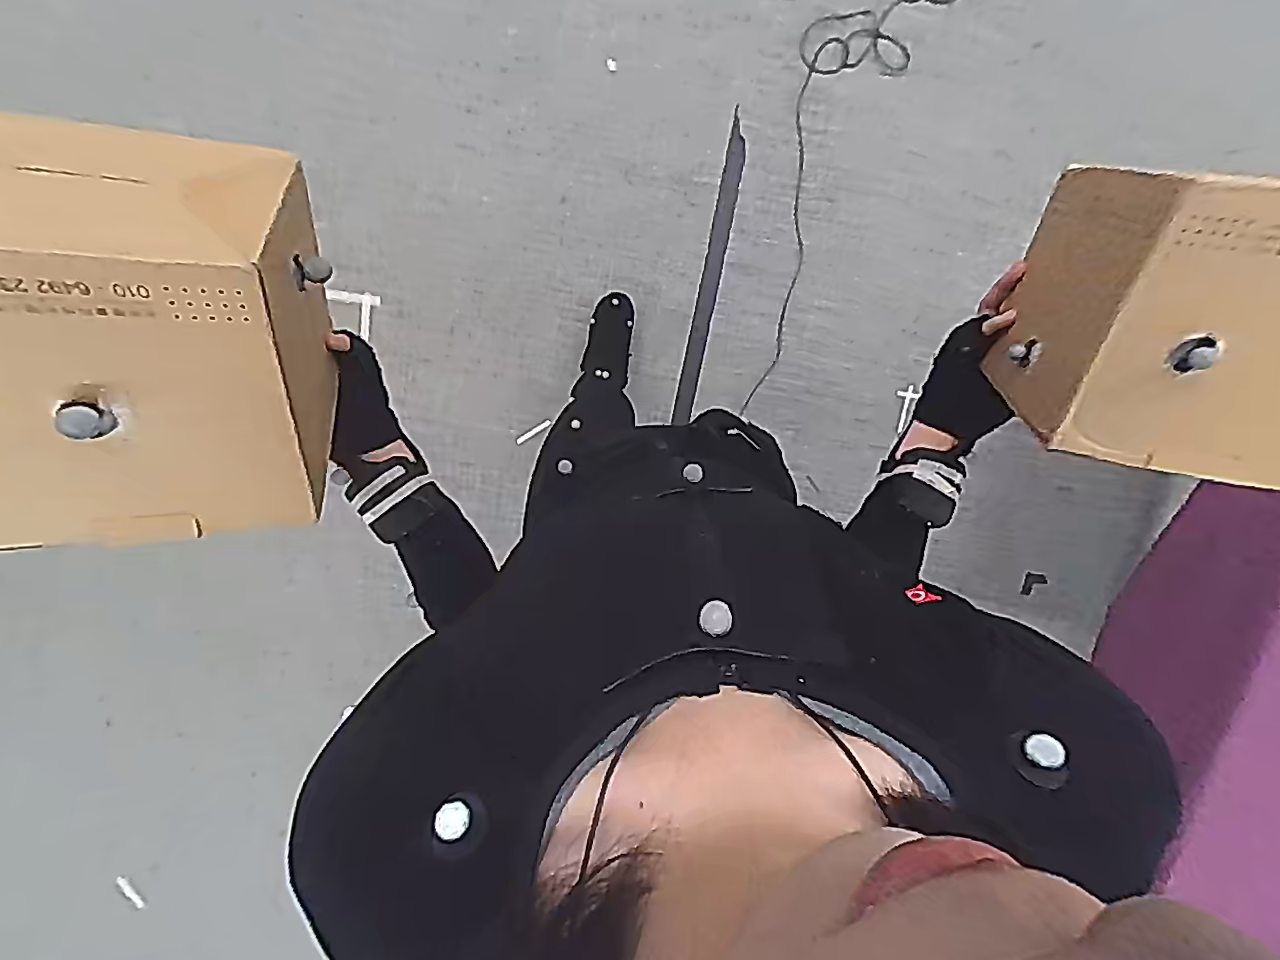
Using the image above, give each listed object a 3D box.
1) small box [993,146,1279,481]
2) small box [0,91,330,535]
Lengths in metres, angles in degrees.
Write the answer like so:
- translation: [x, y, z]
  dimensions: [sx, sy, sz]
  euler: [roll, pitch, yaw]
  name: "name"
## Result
- translation: [0.381, -0.118, 0.361]
  dimensions: [0.168, 0.179, 0.176]
  euler: [14, 124, 9]
  name: "small box"
- translation: [-0.279, -0.093, 0.295]
  dimensions: [0.168, 0.179, 0.176]
  euler: [-3, 133, -22]
  name: "small box"
